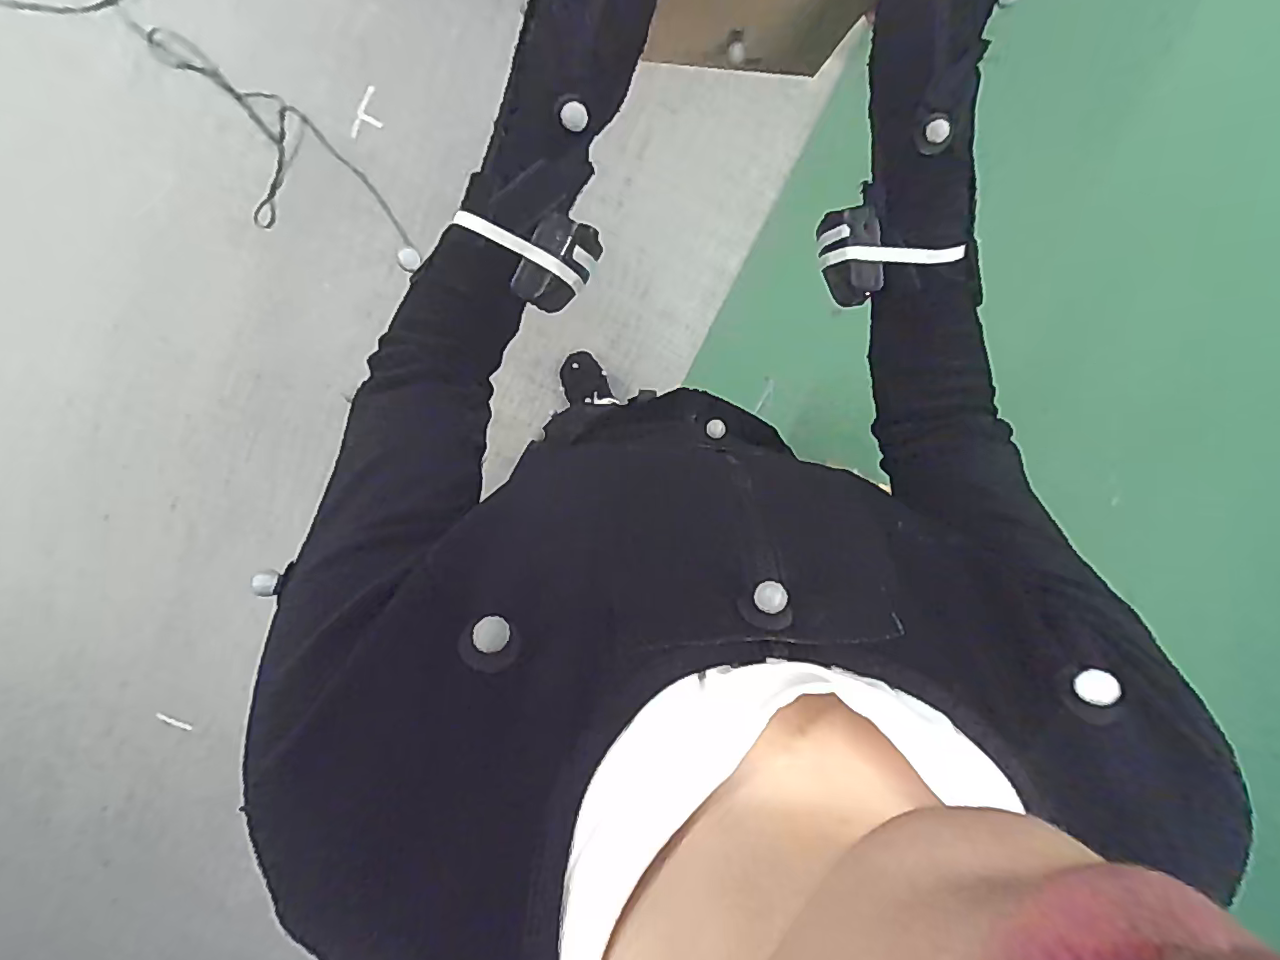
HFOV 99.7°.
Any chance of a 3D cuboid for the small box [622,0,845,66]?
[{"bbox_3d":[0.072,-0.434,0.377,0.168,0.176,0.179,3,106,-3],"label":"small box"}]
